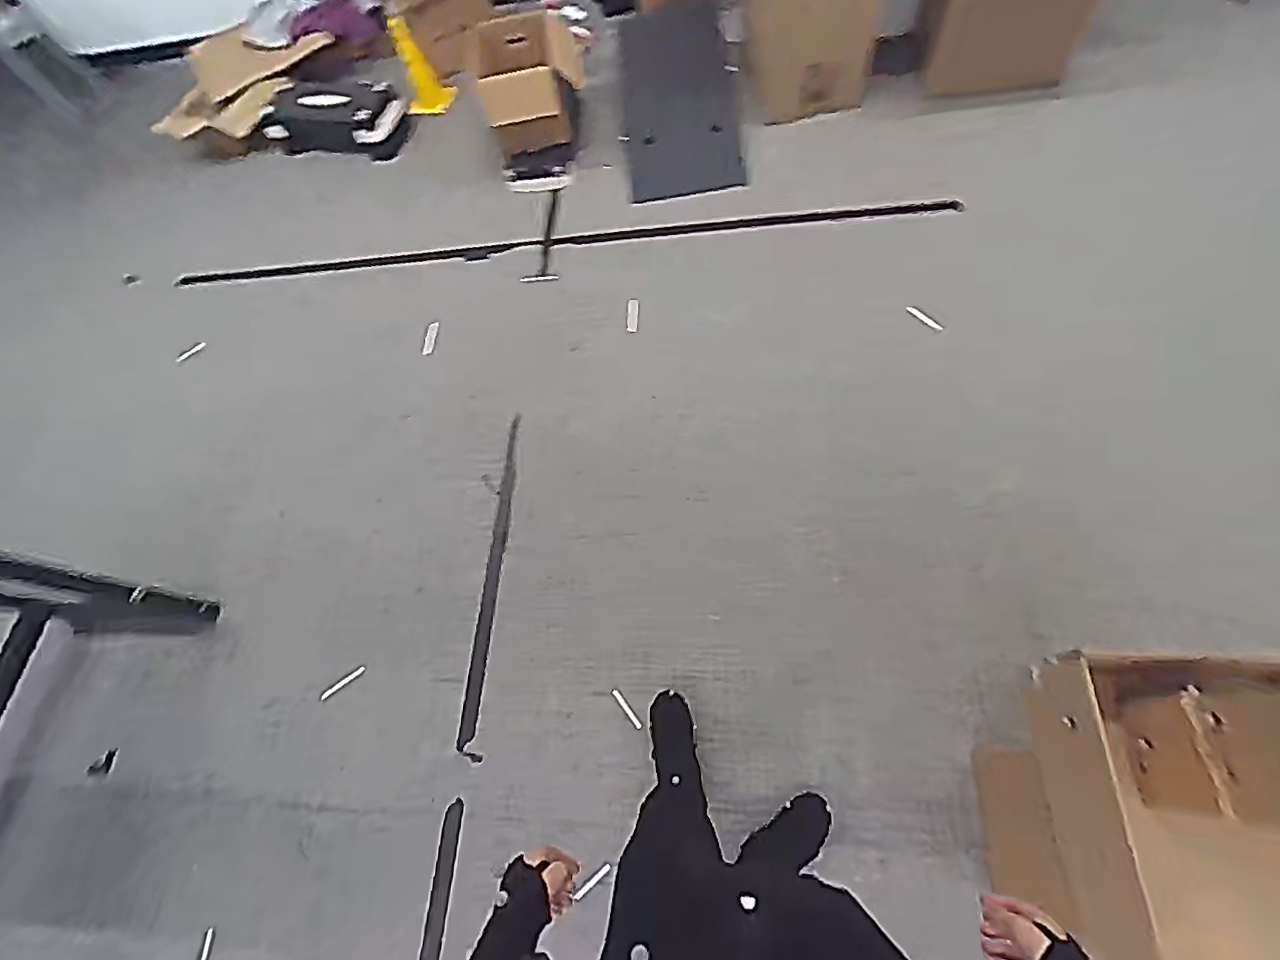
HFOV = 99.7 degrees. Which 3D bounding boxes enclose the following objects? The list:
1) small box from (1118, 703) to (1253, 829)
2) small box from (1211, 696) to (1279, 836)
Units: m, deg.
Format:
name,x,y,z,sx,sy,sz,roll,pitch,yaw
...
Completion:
name,x,y,z,sx,sy,sz,roll,pitch,yaw
small box,0.924,0.446,0.852,0.179,0.176,0.168,-2,64,8
small box,0.915,0.378,0.702,0.179,0.176,0.168,-1,64,7
